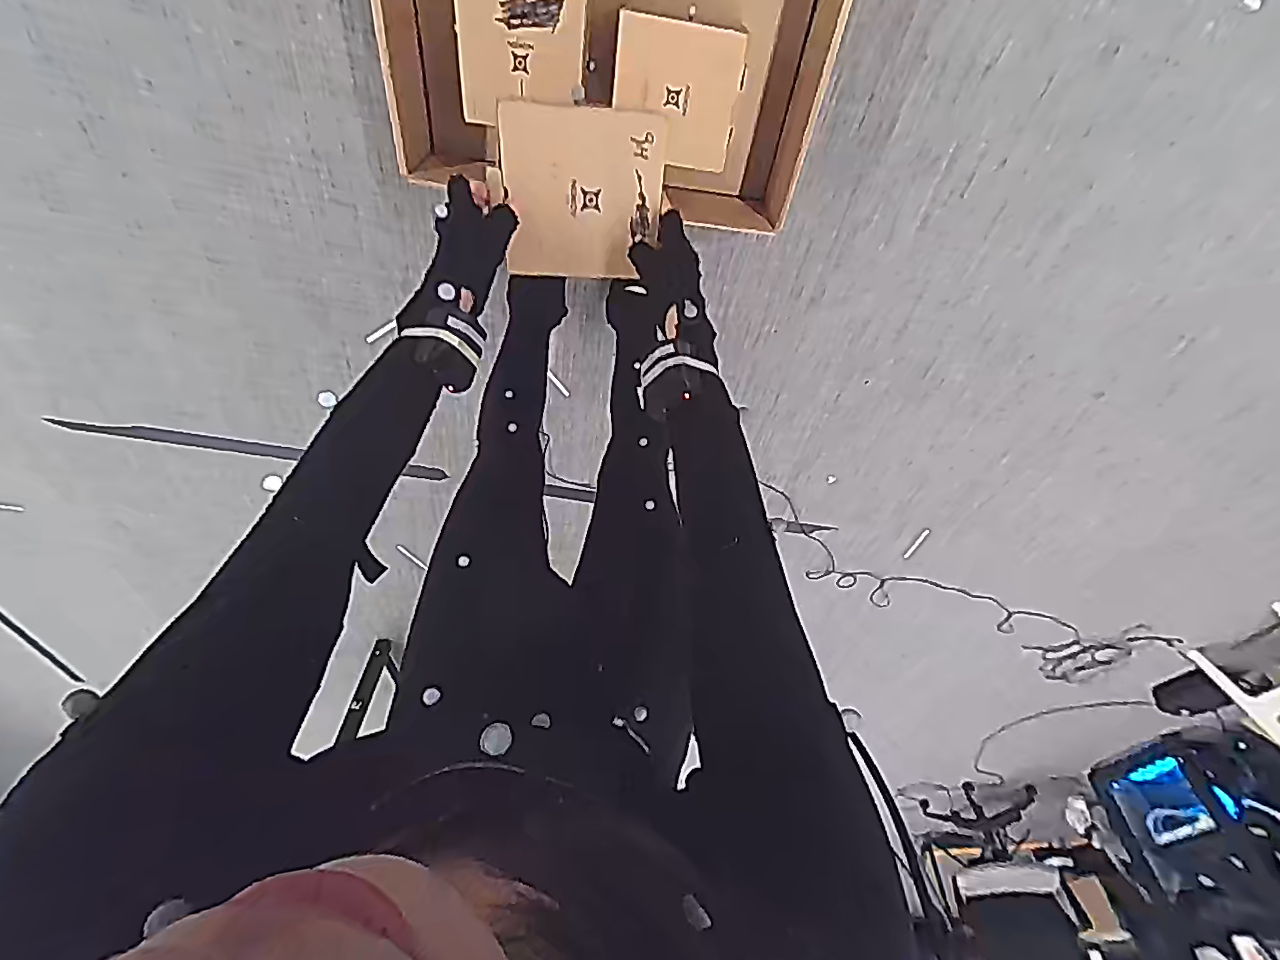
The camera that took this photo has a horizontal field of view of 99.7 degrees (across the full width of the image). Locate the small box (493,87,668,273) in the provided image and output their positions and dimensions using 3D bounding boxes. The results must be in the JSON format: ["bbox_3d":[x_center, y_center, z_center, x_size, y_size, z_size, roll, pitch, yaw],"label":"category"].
[{"bbox_3d":[-0.073,-0.359,0.646,0.179,0.176,0.168,0,126,-9],"label":"small box"}]

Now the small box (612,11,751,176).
[{"bbox_3d":[0.052,-0.578,0.806,0.179,0.176,0.168,8,132,-3],"label":"small box"}]
